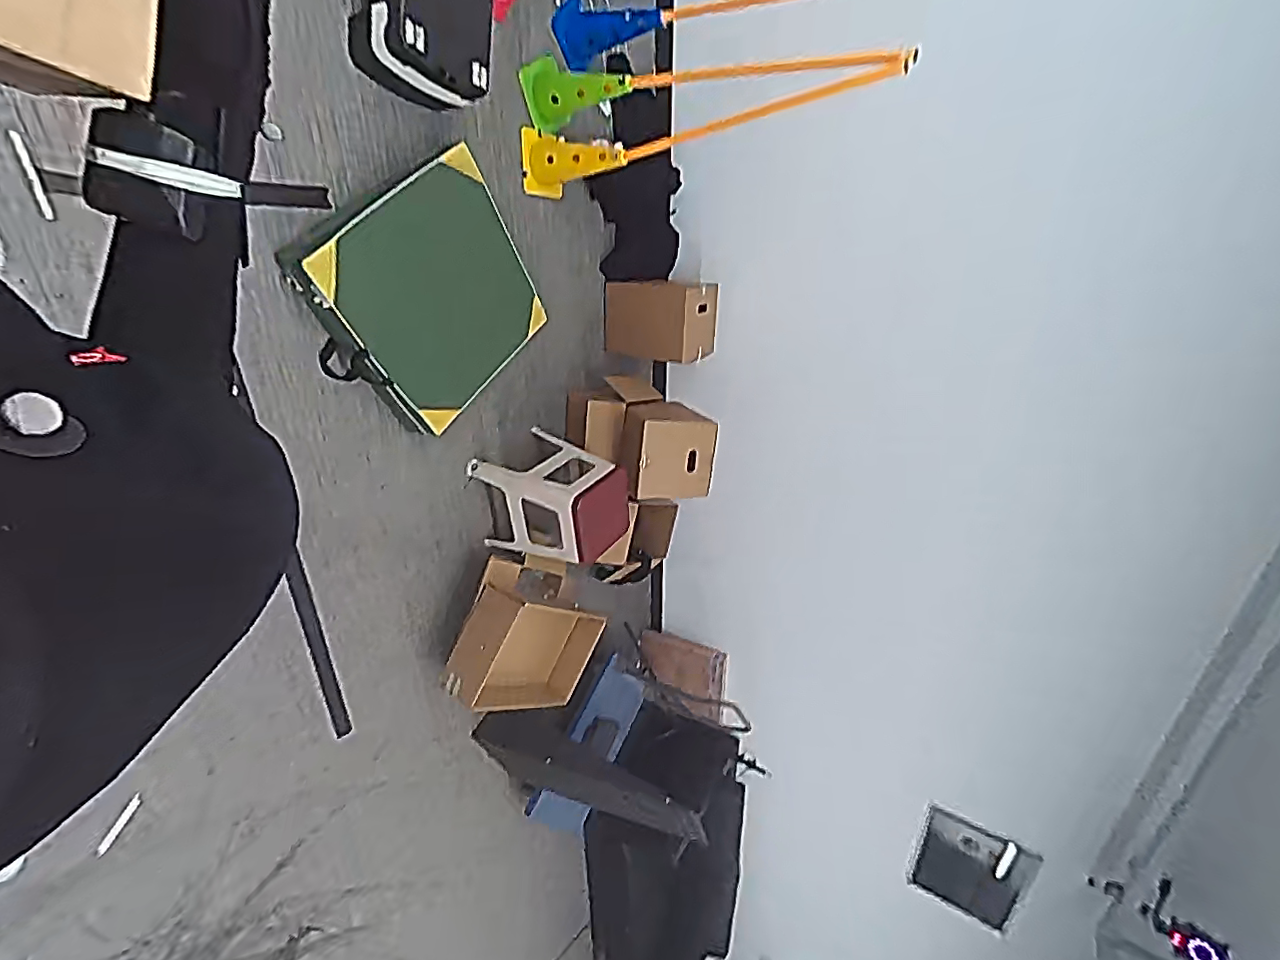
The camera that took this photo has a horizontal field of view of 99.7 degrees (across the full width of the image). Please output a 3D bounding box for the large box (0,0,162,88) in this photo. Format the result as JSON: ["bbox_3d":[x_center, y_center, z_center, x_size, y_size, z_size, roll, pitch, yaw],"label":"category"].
[{"bbox_3d":[-0.485,-0.423,0.206,0.408,0.320,0.320,-5,118,-56],"label":"large box"}]
